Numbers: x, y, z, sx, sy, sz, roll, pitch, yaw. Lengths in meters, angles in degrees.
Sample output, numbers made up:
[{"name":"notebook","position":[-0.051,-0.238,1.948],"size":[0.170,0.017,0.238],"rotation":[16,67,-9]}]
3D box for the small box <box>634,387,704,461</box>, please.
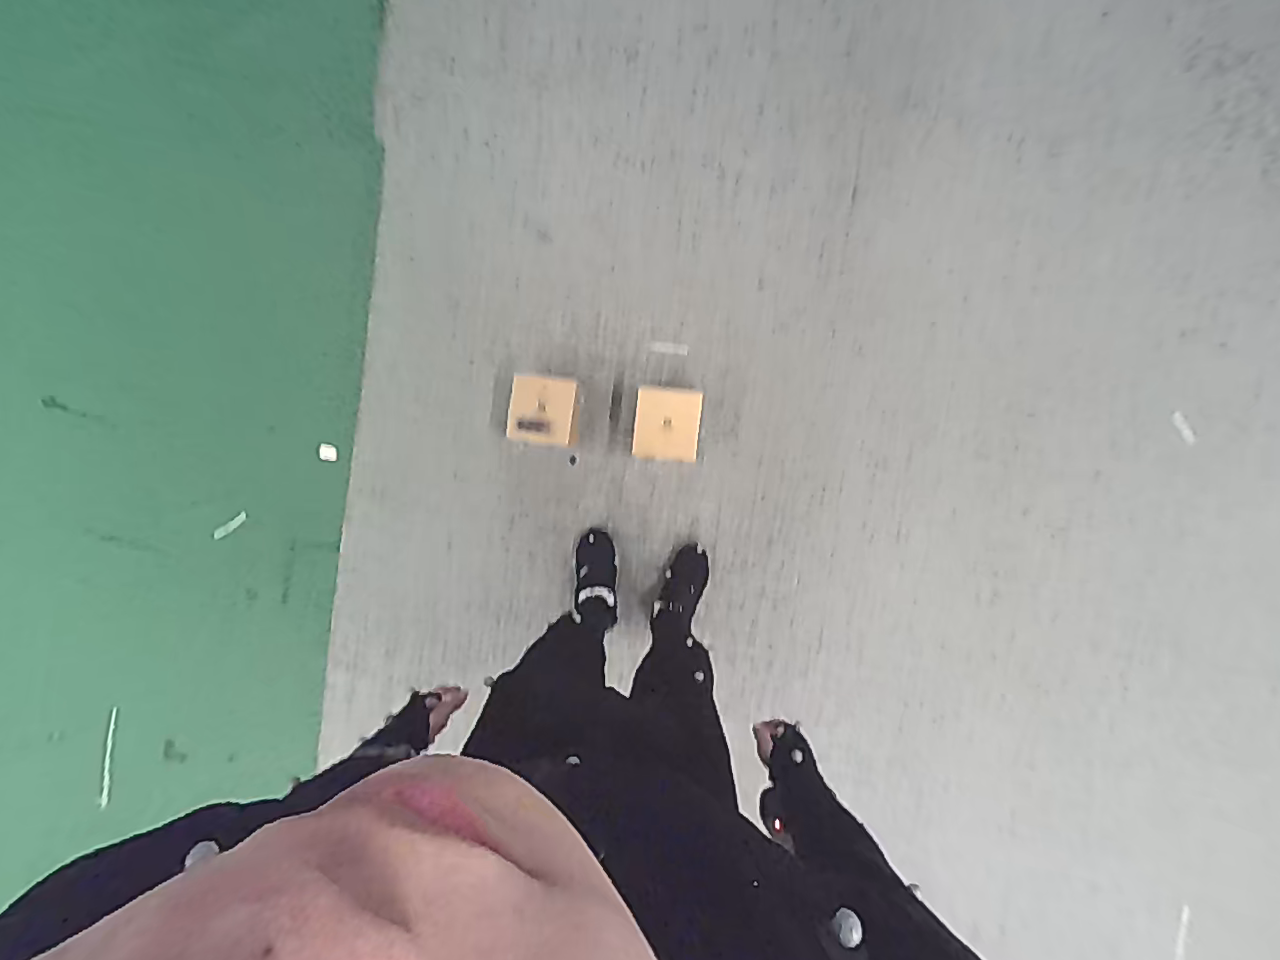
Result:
[{"name":"small box","position":[0.077,-0.146,1.458],"size":[0.168,0.176,0.179],"rotation":[6,93,3]}]
